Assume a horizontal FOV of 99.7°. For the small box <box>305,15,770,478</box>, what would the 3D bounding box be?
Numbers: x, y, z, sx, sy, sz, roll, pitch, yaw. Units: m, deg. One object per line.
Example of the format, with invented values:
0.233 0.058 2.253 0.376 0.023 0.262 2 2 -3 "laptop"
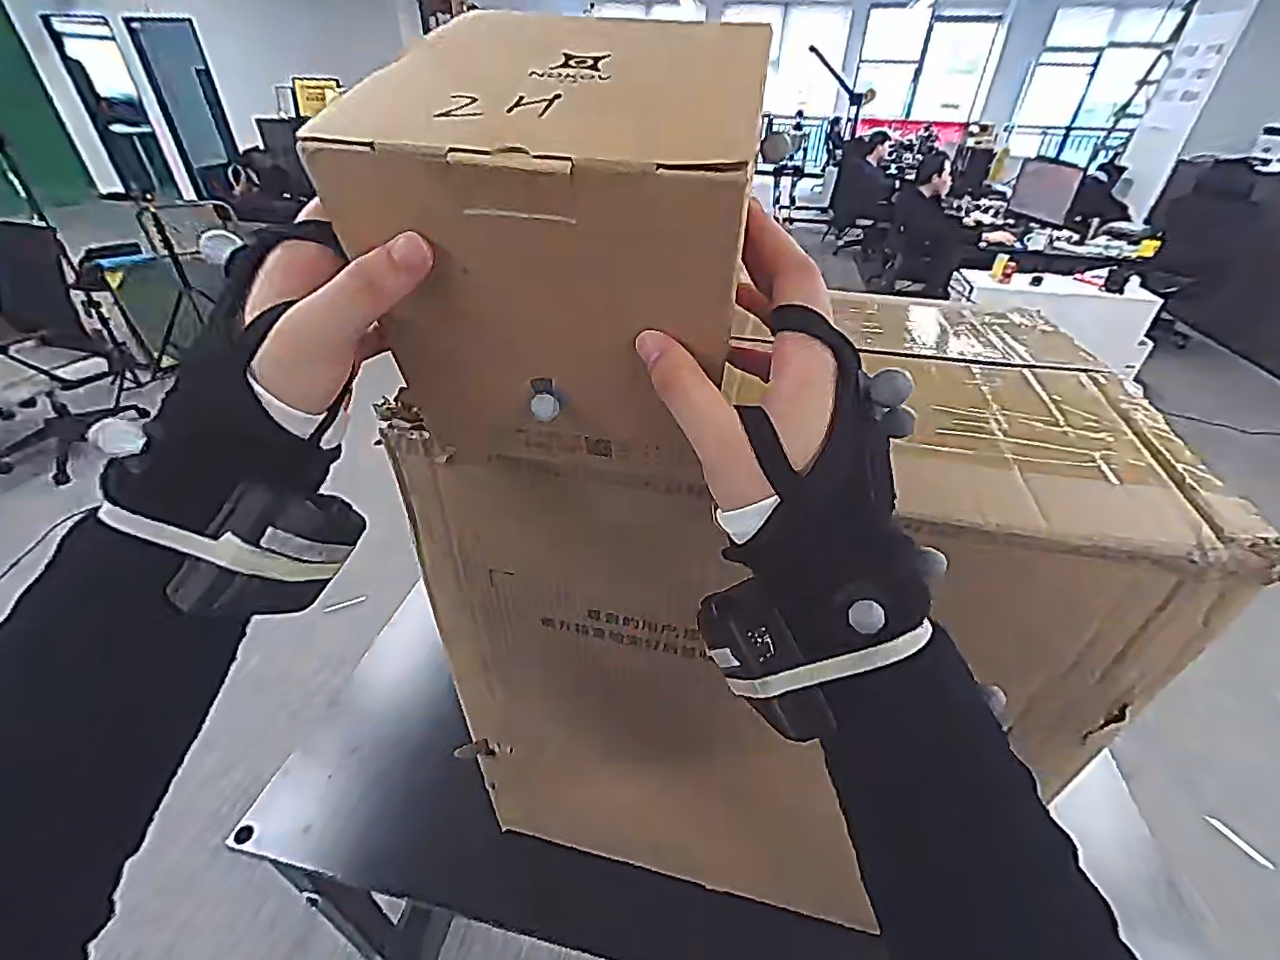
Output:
-0.028 -0.127 0.301 0.168 0.176 0.179 8 53 8 "small box"
